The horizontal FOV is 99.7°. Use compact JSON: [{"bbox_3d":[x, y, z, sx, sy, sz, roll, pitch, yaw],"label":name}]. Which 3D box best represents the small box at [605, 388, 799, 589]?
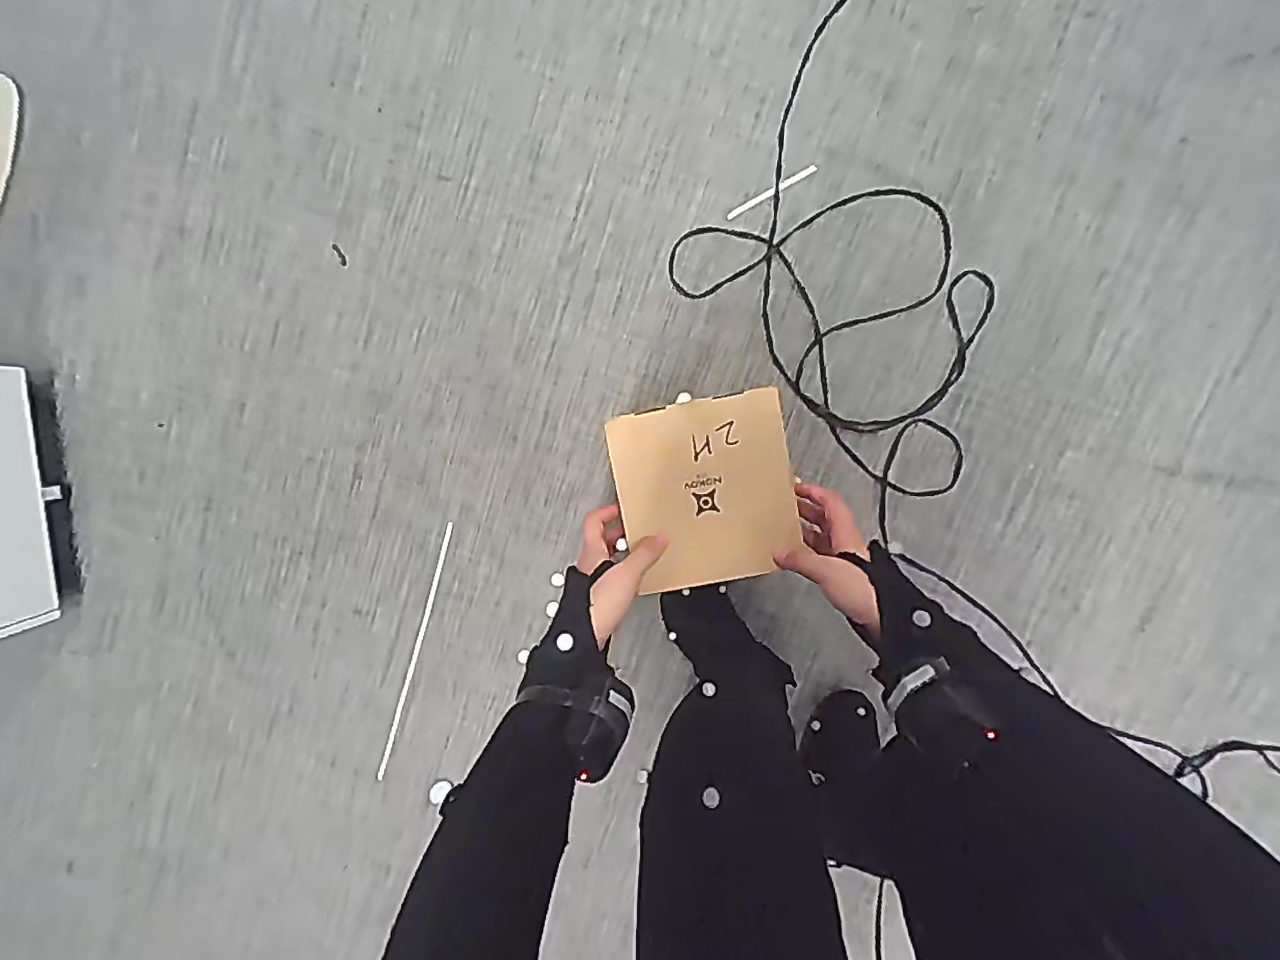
[{"bbox_3d":[0.066,0.002,0.599,0.168,0.176,0.179,-11,95,4],"label":"small box"}]
